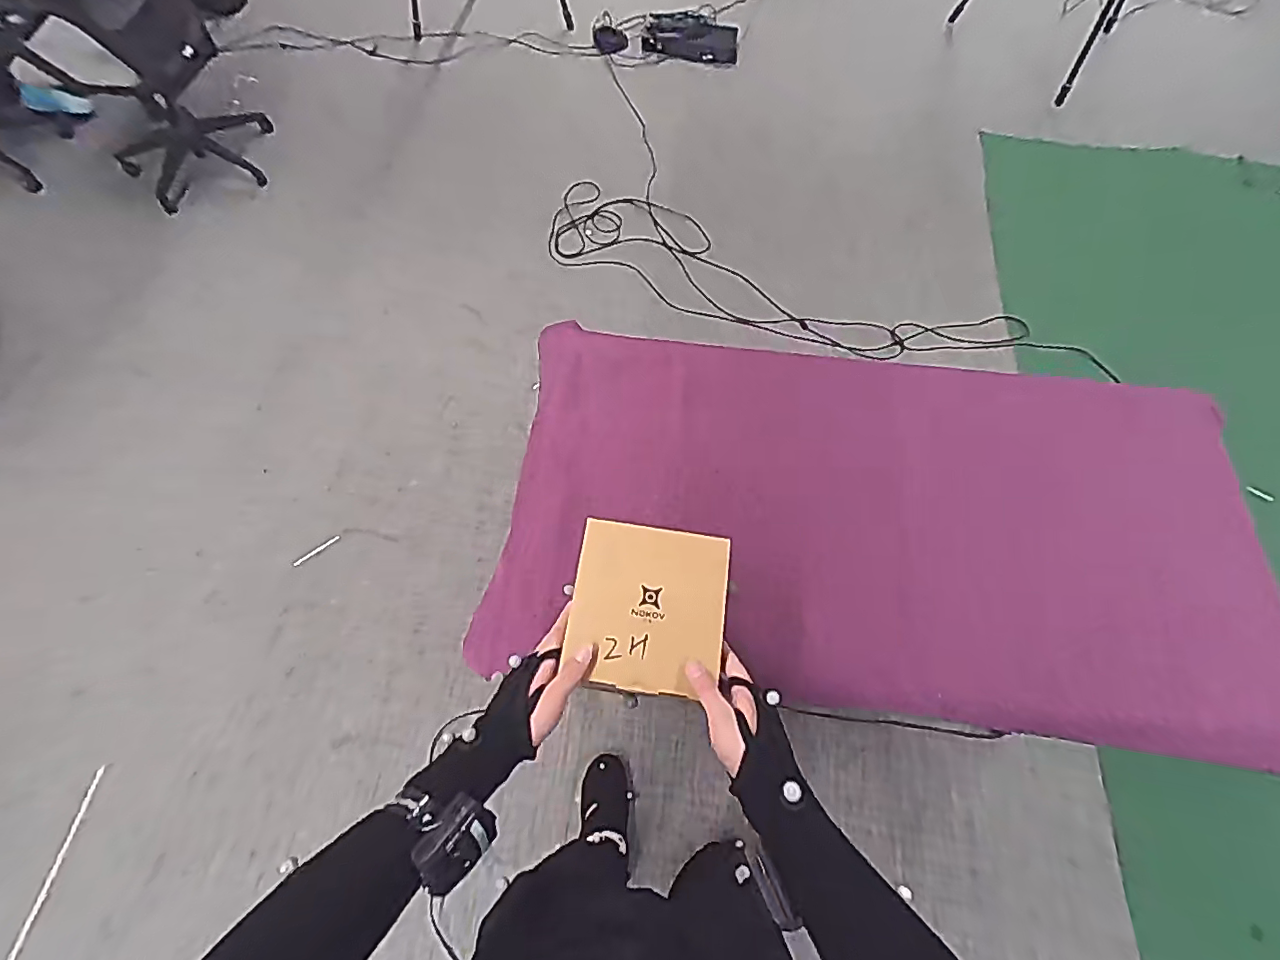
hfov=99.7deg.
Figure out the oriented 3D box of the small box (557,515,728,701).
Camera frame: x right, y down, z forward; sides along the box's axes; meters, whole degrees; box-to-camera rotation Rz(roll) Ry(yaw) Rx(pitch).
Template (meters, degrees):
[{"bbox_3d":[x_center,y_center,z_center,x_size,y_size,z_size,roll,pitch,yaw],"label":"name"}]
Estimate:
[{"bbox_3d":[0.004,0.161,0.654,0.168,0.176,0.179,9,68,2],"label":"small box"}]
